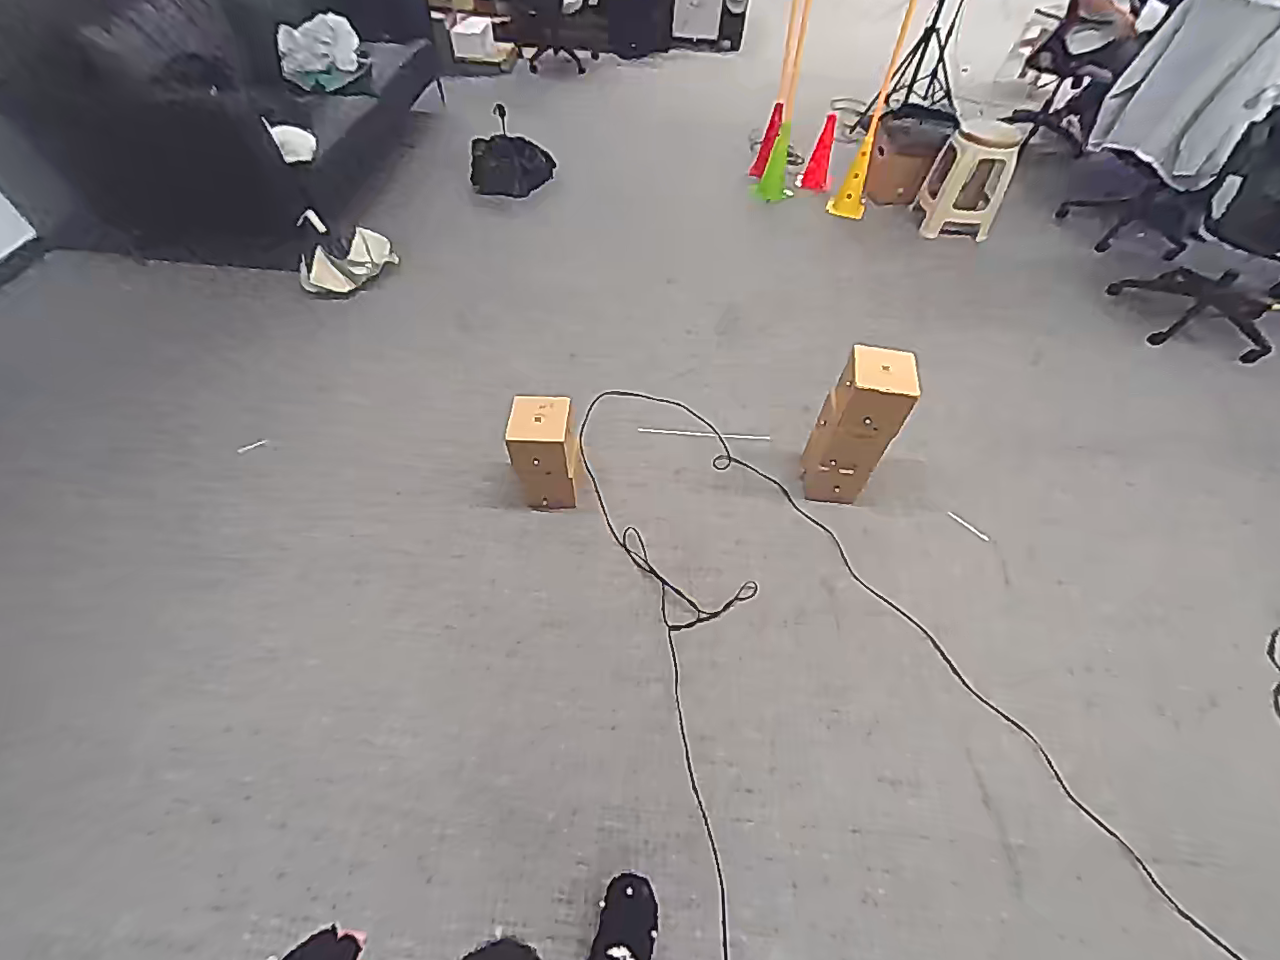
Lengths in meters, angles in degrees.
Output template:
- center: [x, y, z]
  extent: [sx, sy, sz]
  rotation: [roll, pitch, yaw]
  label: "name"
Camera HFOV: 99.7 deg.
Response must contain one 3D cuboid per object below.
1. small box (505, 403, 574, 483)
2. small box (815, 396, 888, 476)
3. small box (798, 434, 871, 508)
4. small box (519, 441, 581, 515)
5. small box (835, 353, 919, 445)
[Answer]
- center: [-0.289, -0.107, 1.599]
  extent: [0.168, 0.176, 0.179]
  rotation: [2, 53, 0]
  label: "small box"
- center: [0.642, -0.130, 1.644]
  extent: [0.168, 0.176, 0.179]
  rotation: [6, 52, 3]
  label: "small box"
- center: [0.632, -0.026, 1.775]
  extent: [0.168, 0.176, 0.179]
  rotation: [5, 54, -2]
  label: "small box"
- center: [-0.282, -0.010, 1.731]
  extent: [0.168, 0.176, 0.179]
  rotation: [2, 53, 0]
  label: "small box"
- center: [0.655, -0.226, 1.514]
  extent: [0.168, 0.176, 0.179]
  rotation: [10, 54, 6]
  label: "small box"
